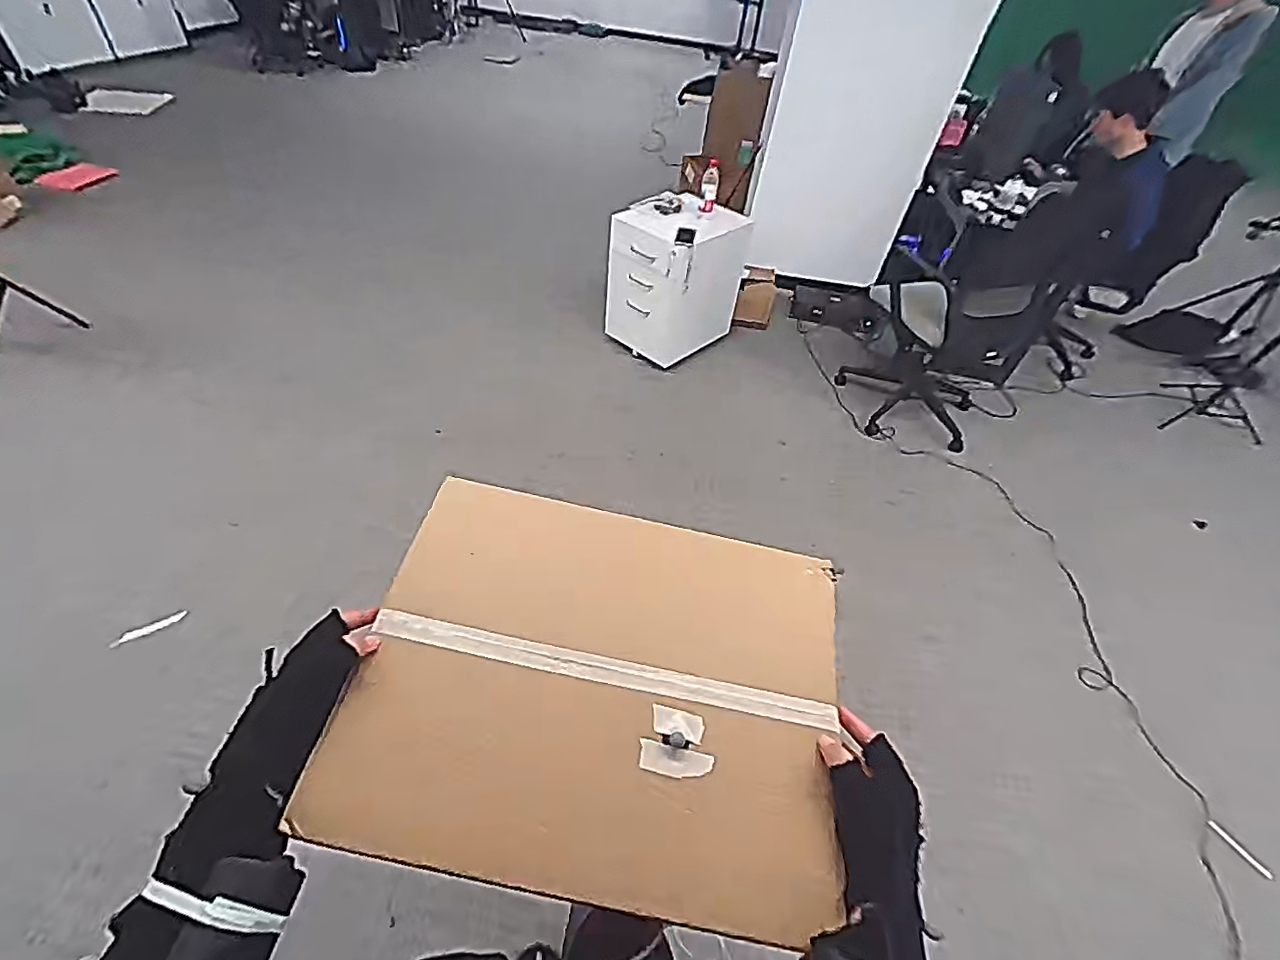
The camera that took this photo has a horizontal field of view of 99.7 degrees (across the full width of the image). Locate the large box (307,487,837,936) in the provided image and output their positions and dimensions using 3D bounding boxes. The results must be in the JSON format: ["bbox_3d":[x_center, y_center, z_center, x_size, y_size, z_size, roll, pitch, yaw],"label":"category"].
[{"bbox_3d":[-0.045,0.252,0.598,0.408,0.320,0.320,13,55,0],"label":"large box"}]
